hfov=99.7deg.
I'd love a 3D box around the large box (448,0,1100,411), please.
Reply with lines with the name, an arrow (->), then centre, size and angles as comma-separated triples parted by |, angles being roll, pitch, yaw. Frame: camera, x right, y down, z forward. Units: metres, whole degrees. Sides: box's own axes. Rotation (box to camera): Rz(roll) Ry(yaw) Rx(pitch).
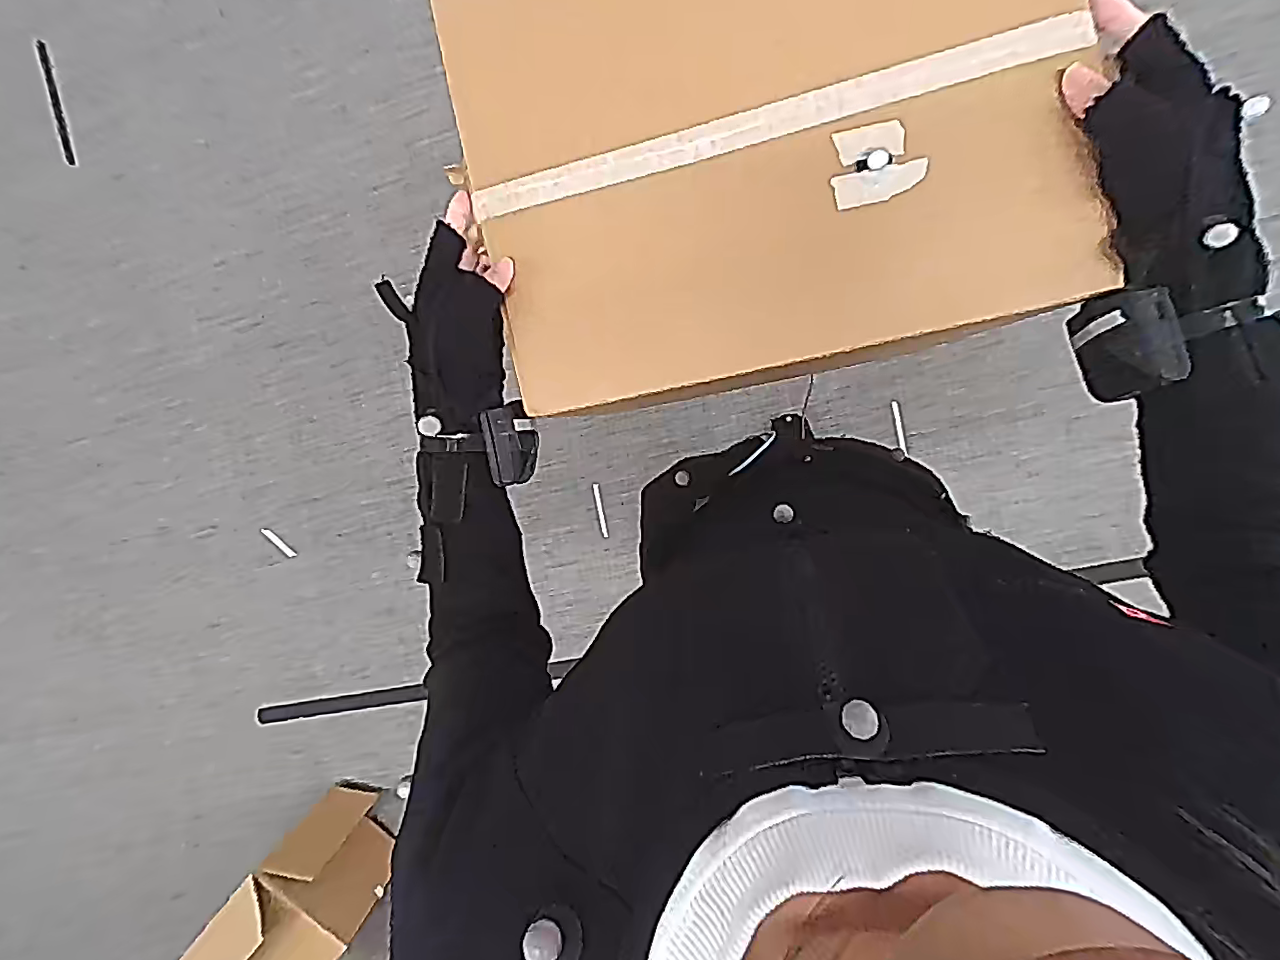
large box -> 0.099, -0.260, 0.521 | 0.408, 0.320, 0.320 | -11, 96, 8
